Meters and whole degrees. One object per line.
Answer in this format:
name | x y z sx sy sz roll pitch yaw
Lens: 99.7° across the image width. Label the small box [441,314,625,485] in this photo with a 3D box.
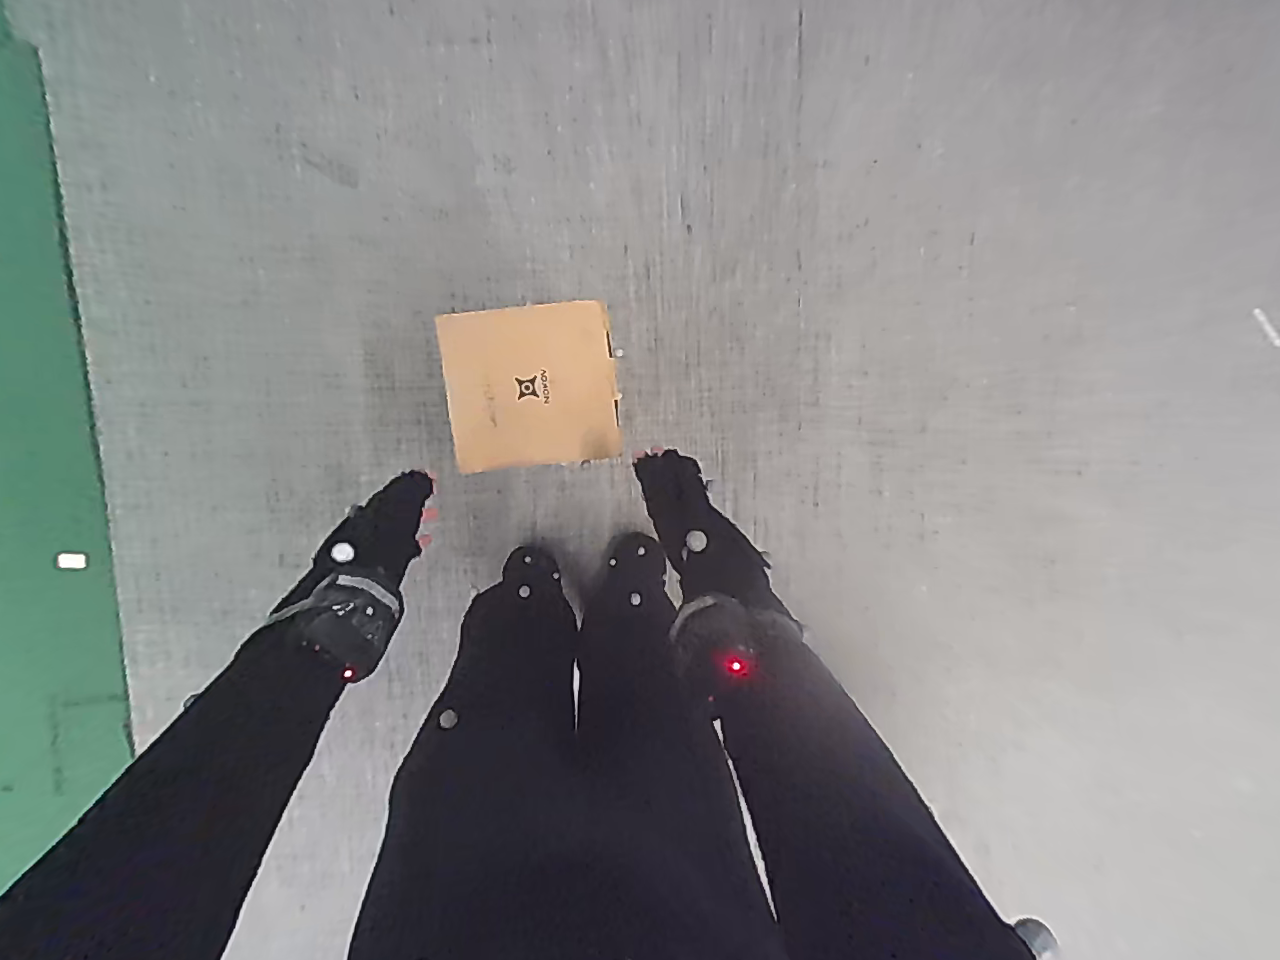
small box | -0.116 -0.092 0.648 0.179 0.176 0.168 -8 95 -2
